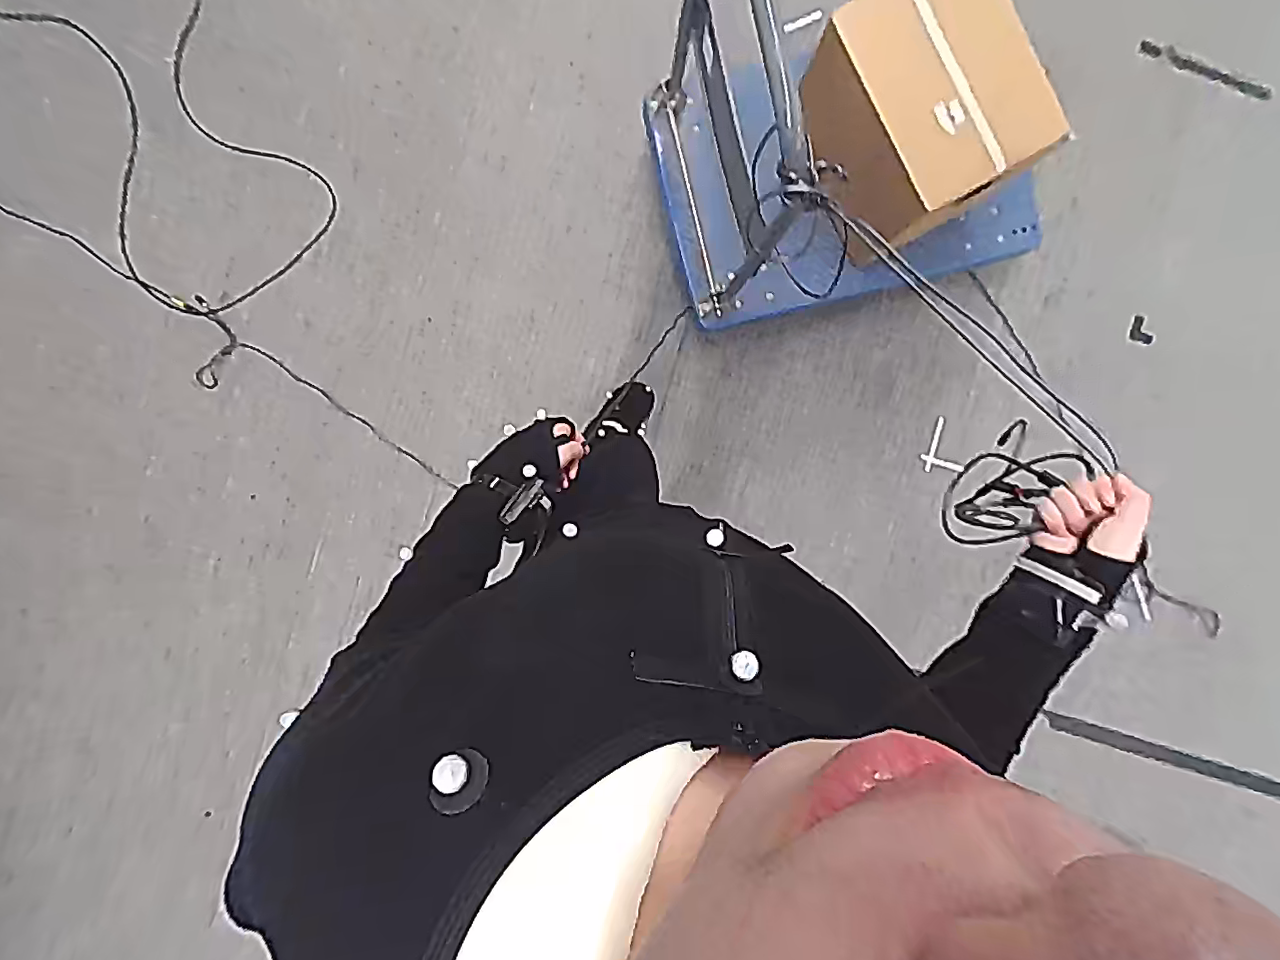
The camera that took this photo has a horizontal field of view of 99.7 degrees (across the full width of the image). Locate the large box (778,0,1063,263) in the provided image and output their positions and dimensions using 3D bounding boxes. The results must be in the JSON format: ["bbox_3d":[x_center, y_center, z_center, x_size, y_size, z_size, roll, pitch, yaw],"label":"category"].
[{"bbox_3d":[0.555,-0.754,1.142,0.320,0.320,0.408,-29,94,0],"label":"large box"}]
